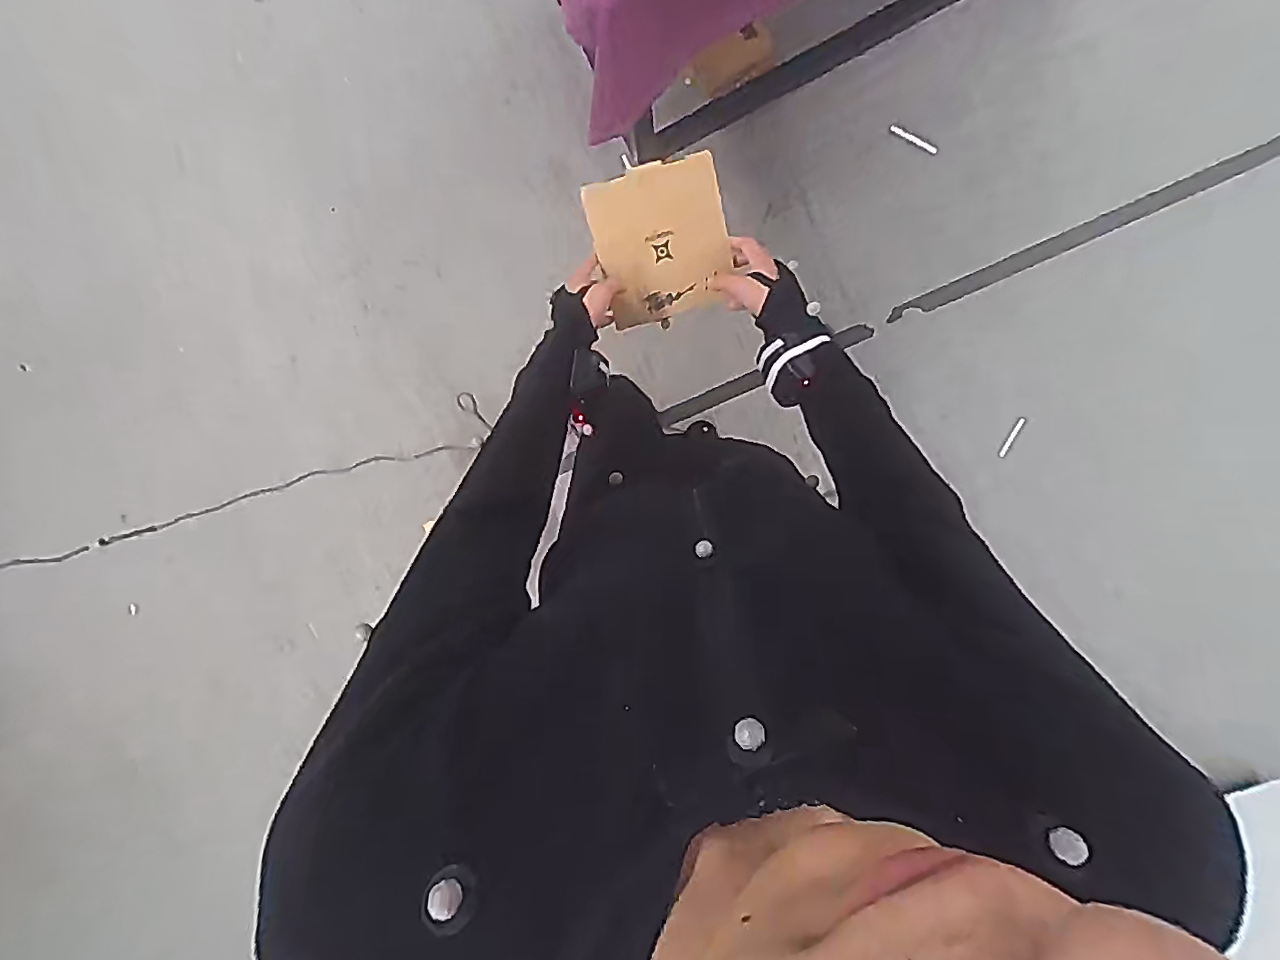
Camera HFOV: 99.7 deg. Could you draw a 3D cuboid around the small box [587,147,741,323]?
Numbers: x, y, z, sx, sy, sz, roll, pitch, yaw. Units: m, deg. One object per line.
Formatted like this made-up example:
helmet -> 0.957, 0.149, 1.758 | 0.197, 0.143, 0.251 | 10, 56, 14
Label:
small box -> 0.030, -0.321, 0.747 | 0.168, 0.176, 0.179 | -13, 107, 4
